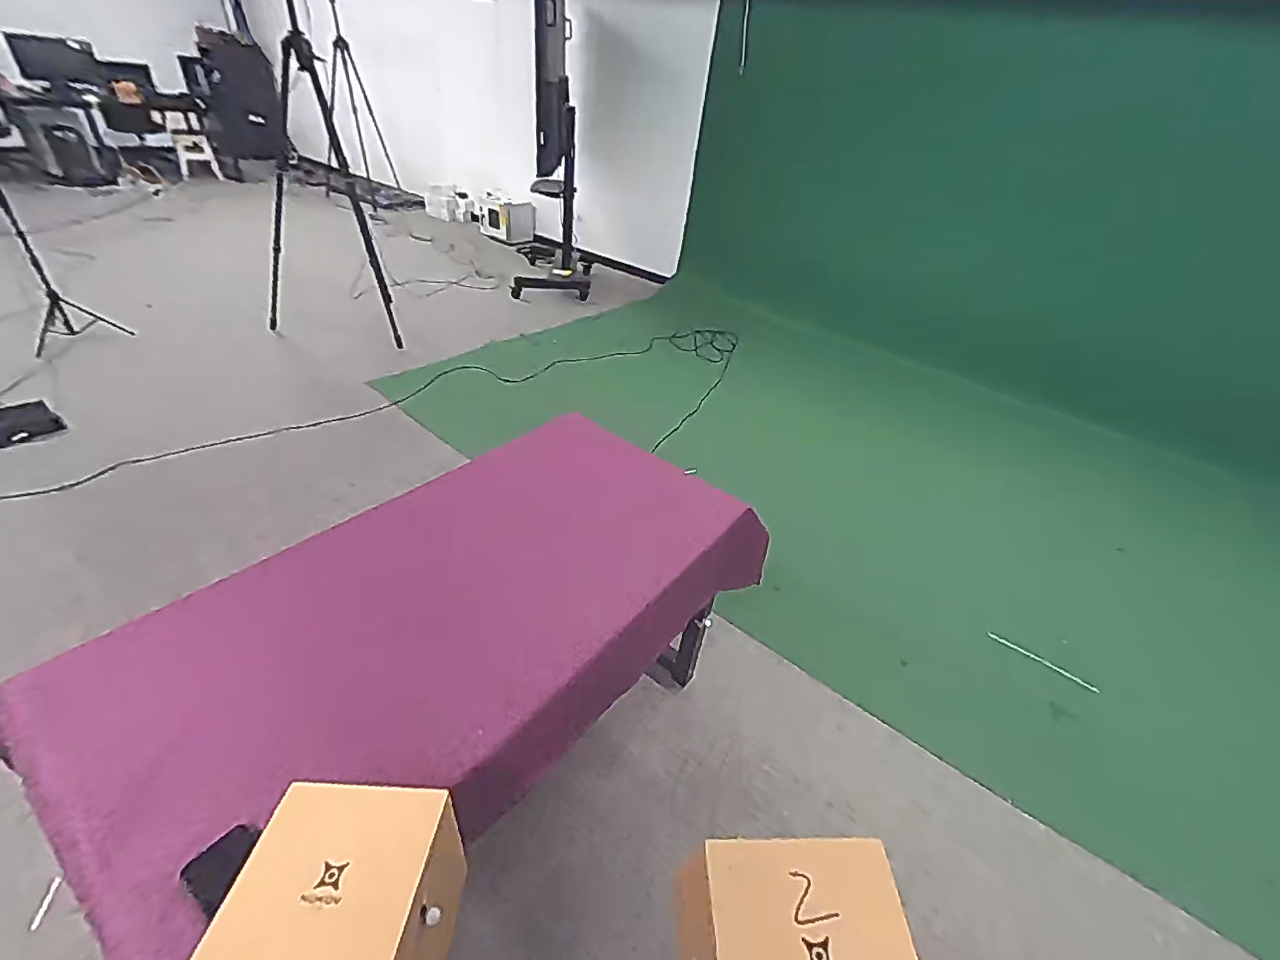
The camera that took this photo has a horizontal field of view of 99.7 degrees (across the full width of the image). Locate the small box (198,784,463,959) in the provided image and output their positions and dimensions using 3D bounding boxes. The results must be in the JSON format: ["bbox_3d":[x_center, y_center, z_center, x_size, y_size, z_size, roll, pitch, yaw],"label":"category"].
[{"bbox_3d":[-0.285,0.440,0.539,0.168,0.176,0.179,3,31,0],"label":"small box"}]
